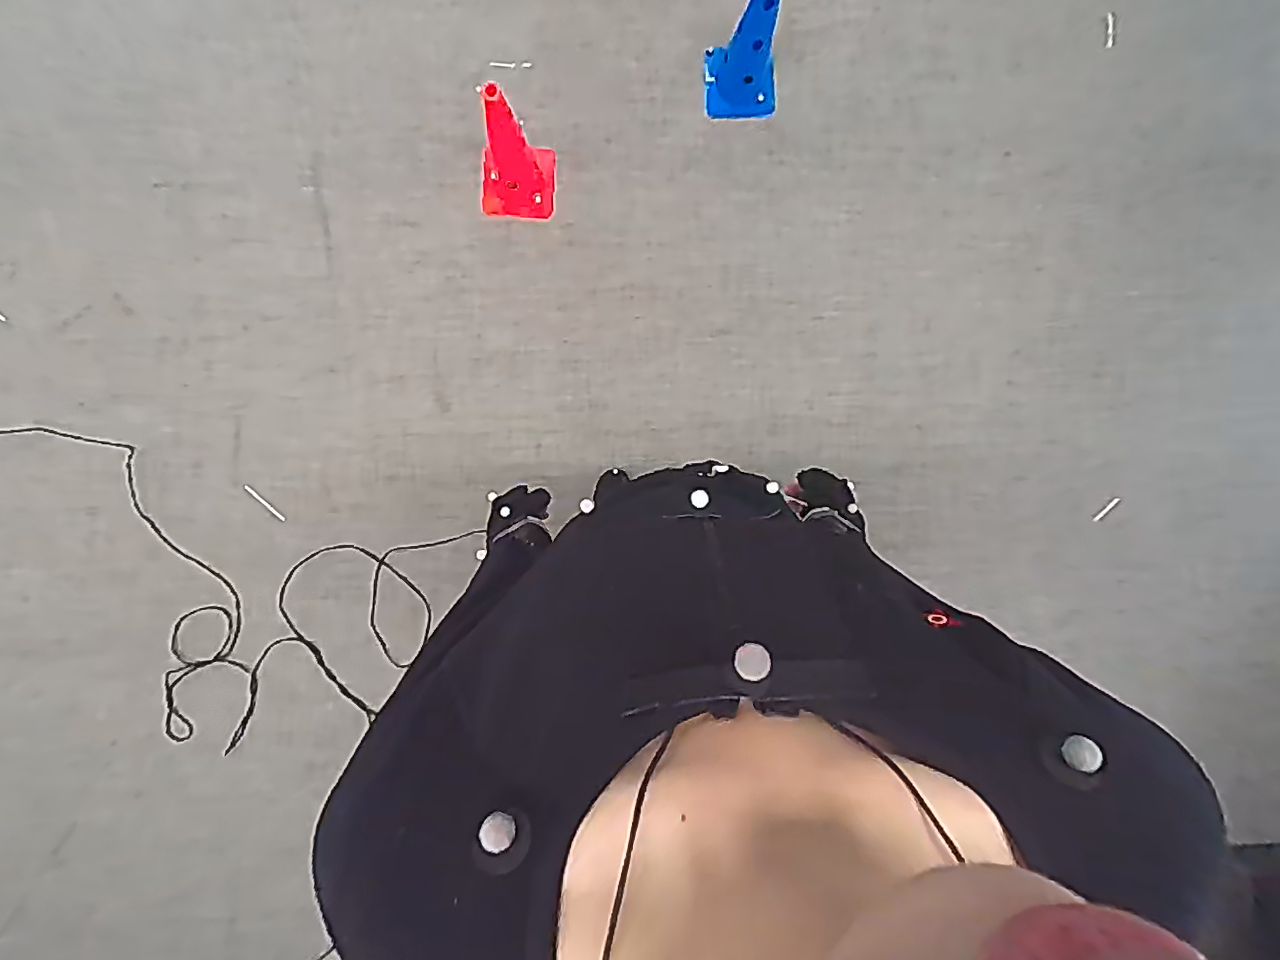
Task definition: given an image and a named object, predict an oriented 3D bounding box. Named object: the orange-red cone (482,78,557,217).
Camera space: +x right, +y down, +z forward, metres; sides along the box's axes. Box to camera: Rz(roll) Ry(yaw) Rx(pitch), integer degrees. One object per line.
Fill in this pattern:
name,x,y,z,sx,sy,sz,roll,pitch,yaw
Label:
orange-red cone,-0.324,-0.838,1.326,0.198,0.360,0.199,3,88,-3
